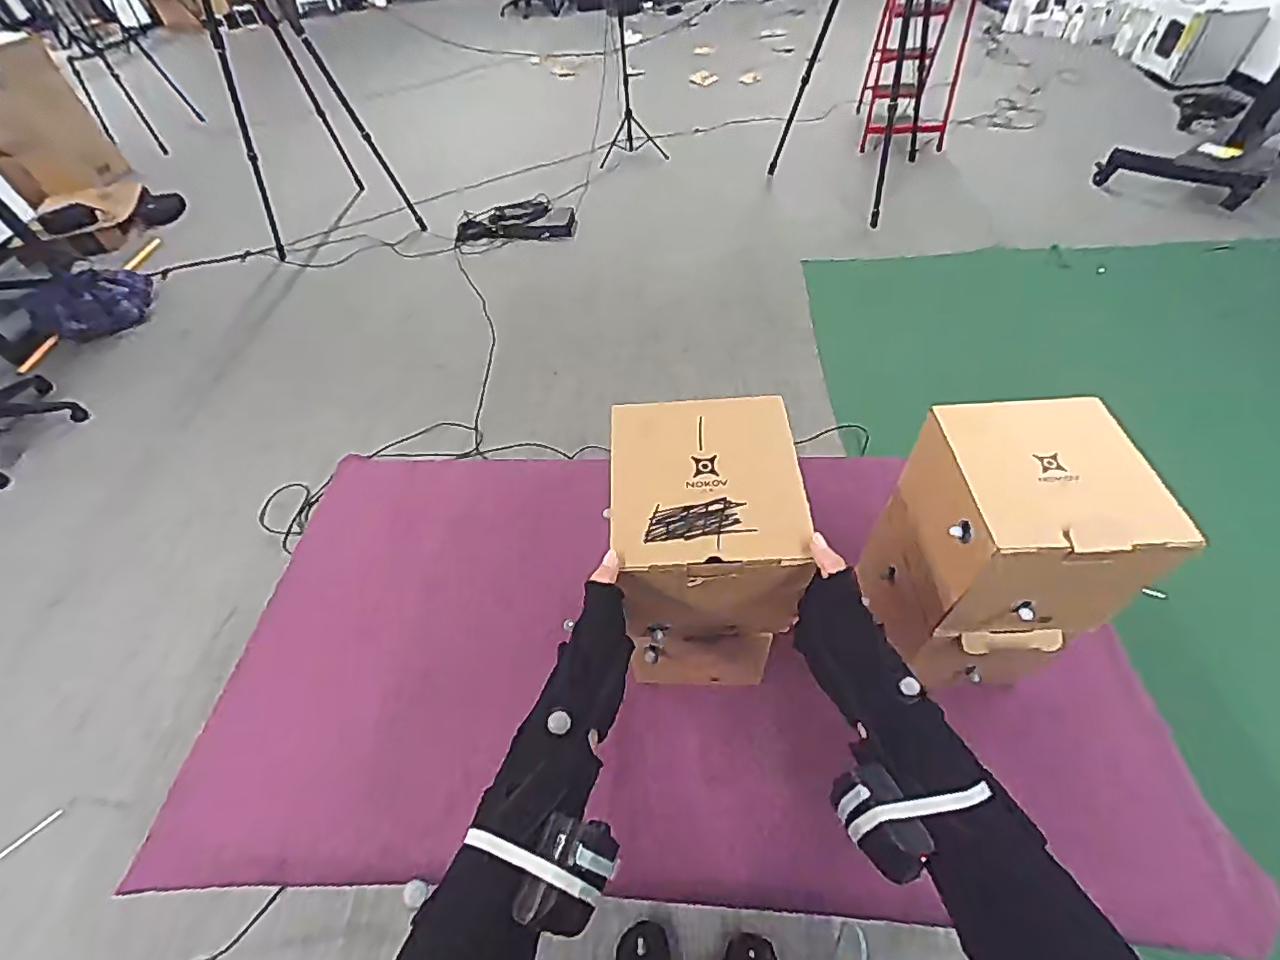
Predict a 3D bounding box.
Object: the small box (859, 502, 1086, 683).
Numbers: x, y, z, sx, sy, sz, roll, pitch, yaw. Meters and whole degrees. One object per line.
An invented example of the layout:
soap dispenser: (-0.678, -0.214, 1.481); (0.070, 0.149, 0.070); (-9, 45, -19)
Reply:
small box: (0.395, 0.142, 0.686); (0.168, 0.176, 0.179); (-3, 52, 4)

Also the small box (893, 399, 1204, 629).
small box: (0.386, 0.038, 0.560); (0.168, 0.176, 0.179); (-3, 52, 3)

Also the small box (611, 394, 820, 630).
small box: (0.063, 0.040, 0.530); (0.168, 0.176, 0.179); (-3, 55, 2)
